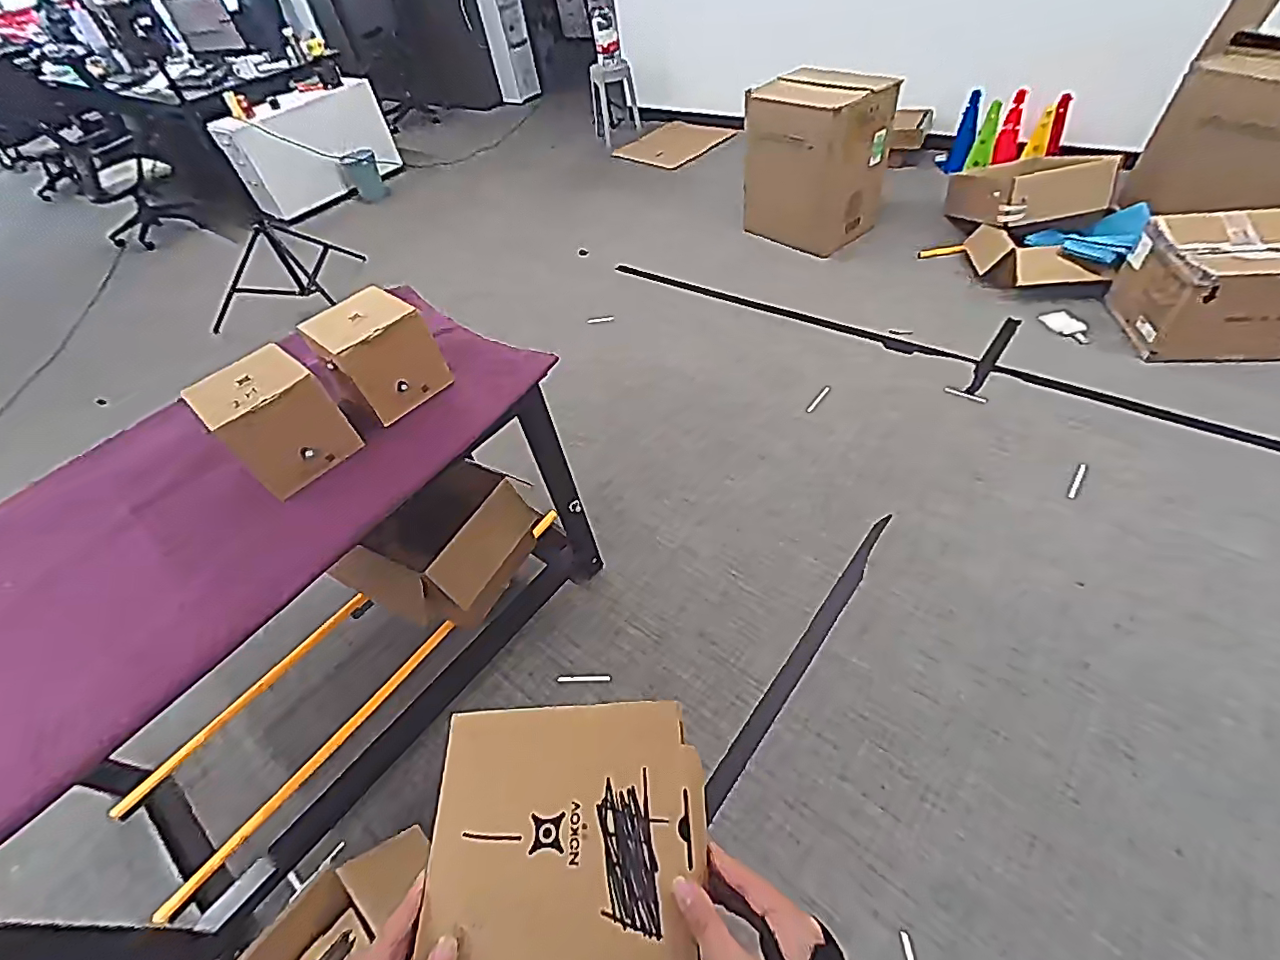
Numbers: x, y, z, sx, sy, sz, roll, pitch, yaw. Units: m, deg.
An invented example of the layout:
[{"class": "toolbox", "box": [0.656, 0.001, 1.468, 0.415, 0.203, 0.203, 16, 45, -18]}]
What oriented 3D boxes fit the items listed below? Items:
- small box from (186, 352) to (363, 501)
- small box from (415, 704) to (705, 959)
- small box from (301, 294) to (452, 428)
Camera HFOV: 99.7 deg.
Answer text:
[{"class": "small box", "box": [-0.632, -0.092, 0.948, 0.179, 0.176, 0.168, 30, 60, 32]}, {"class": "small box", "box": [-0.046, 0.285, 0.421, 0.179, 0.176, 0.168, -5, 52, 3]}, {"class": "small box", "box": [-0.501, -0.227, 1.043, 0.179, 0.176, 0.168, 30, 61, 32]}]
